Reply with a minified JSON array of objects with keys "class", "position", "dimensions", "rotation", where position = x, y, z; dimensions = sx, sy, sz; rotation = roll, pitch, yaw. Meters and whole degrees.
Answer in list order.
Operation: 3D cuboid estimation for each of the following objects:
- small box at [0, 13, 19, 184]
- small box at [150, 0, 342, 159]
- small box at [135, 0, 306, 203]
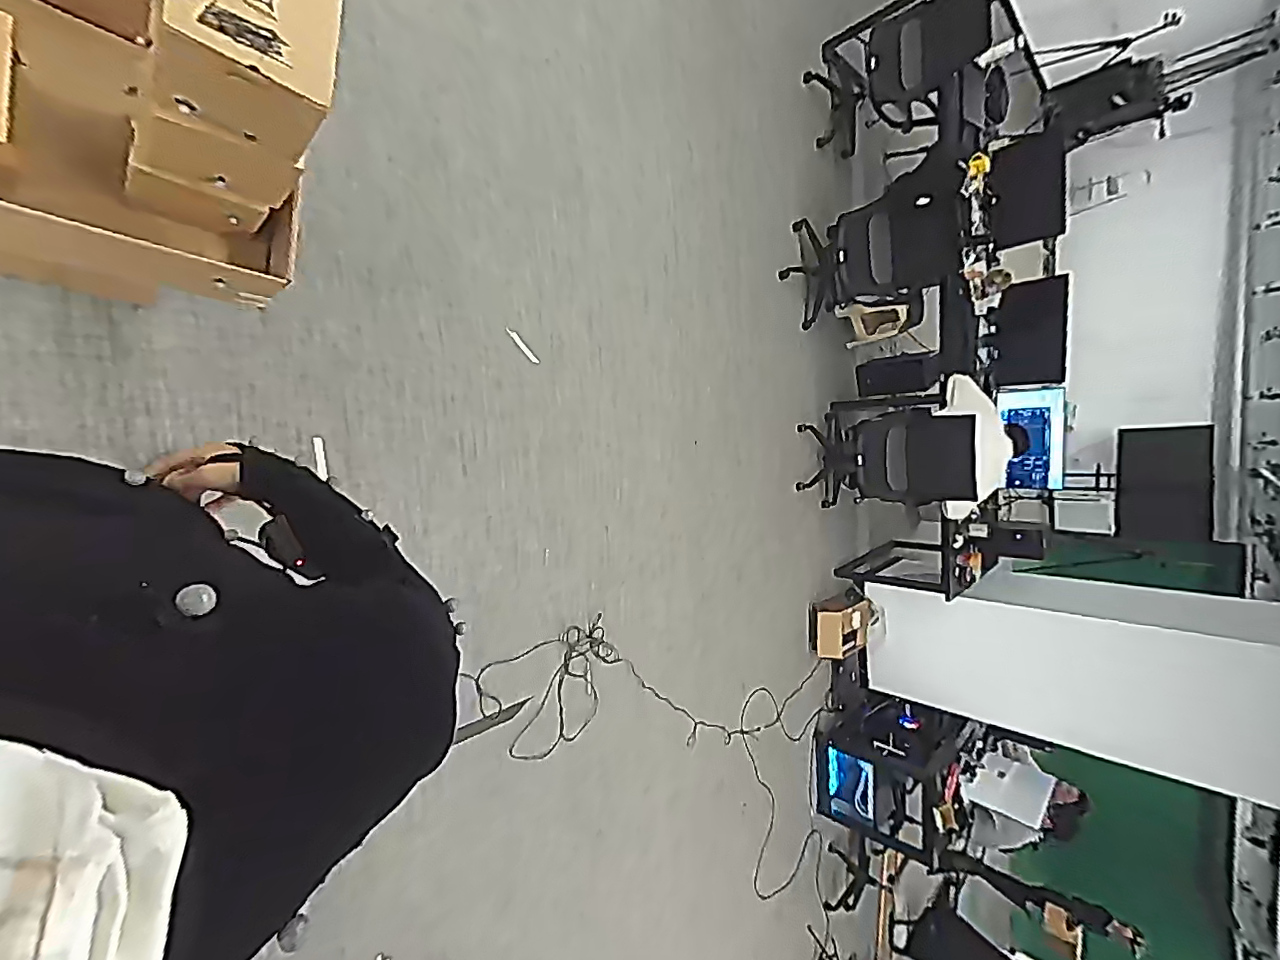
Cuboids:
[{"class":"small box","position":[-0.948,-0.527,0.708],"dimensions":[0.168,0.176,0.179],"rotation":[2,88,-46]},{"class":"small box","position":[-0.503,-0.556,0.690],"dimensions":[0.168,0.176,0.179],"rotation":[7,84,-46]},{"class":"small box","position":[-0.621,-0.541,0.804],"dimensions":[0.179,0.176,0.168],"rotation":[2,89,-47]}]
